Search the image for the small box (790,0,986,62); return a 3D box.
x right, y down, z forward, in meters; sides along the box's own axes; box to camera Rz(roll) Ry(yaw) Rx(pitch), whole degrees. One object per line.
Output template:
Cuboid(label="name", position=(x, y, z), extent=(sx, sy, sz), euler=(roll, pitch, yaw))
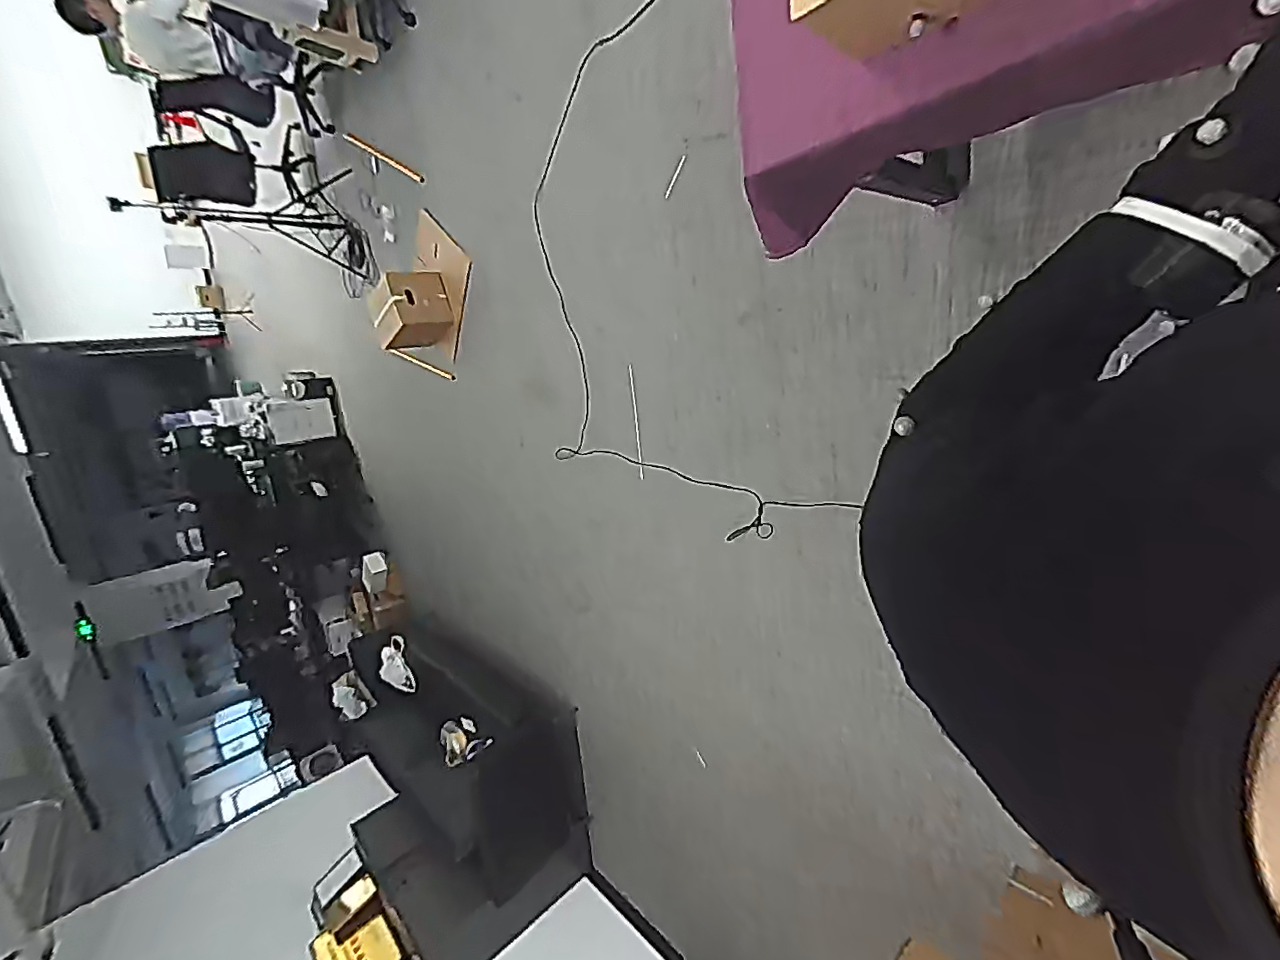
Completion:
Cuboid(label="small box", position=(0.278, -0.595, 0.578), extent=(0.179, 0.176, 0.168), euler=(9, 109, 46))
